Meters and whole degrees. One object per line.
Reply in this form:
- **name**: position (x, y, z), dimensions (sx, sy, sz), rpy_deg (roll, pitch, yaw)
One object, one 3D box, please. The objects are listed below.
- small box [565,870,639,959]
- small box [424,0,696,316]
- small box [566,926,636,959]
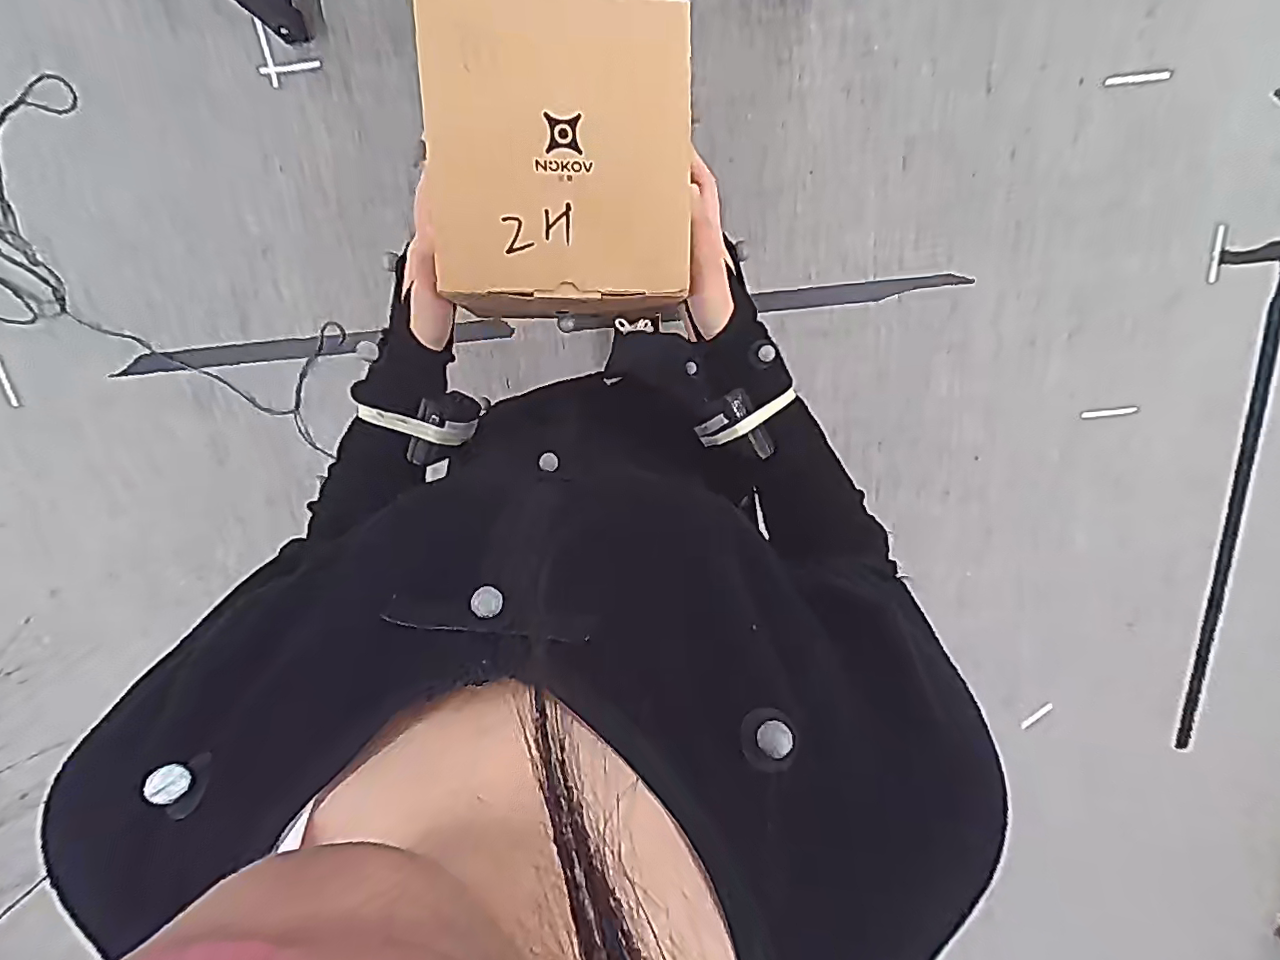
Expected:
- **small box**: position (-0.099, 1.202, 1.470), dimensions (0.179, 0.176, 0.168), rpy_deg (-7, 105, 1)
- **small box**: position (-0.057, -0.228, 0.413), dimensions (0.168, 0.176, 0.179), rpy_deg (-2, 101, -7)
- **small box**: position (-0.091, 1.239, 1.312), dimensions (0.168, 0.176, 0.179), rpy_deg (-7, 105, 0)
